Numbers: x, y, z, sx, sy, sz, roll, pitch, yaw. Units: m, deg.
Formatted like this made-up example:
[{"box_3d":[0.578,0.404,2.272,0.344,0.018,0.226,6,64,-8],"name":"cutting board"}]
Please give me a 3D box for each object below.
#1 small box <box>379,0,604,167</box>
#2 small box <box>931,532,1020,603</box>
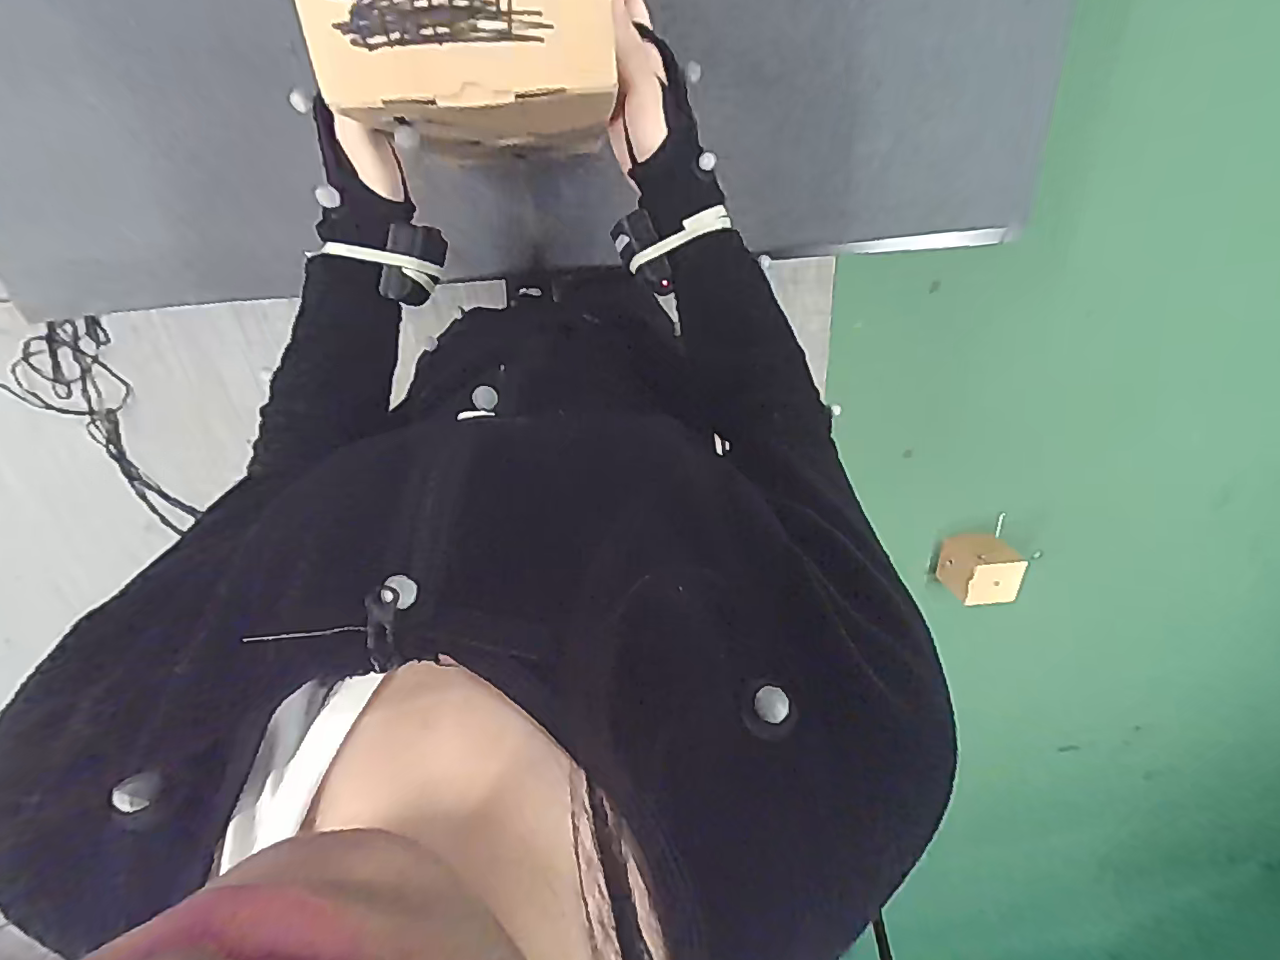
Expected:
[{"box_3d":[-0.126,-0.397,0.492,0.168,0.176,0.179,-7,117,-3],"name":"small box"},{"box_3d":[1.130,0.291,1.833,0.179,0.176,0.168,-5,118,-5],"name":"small box"}]
